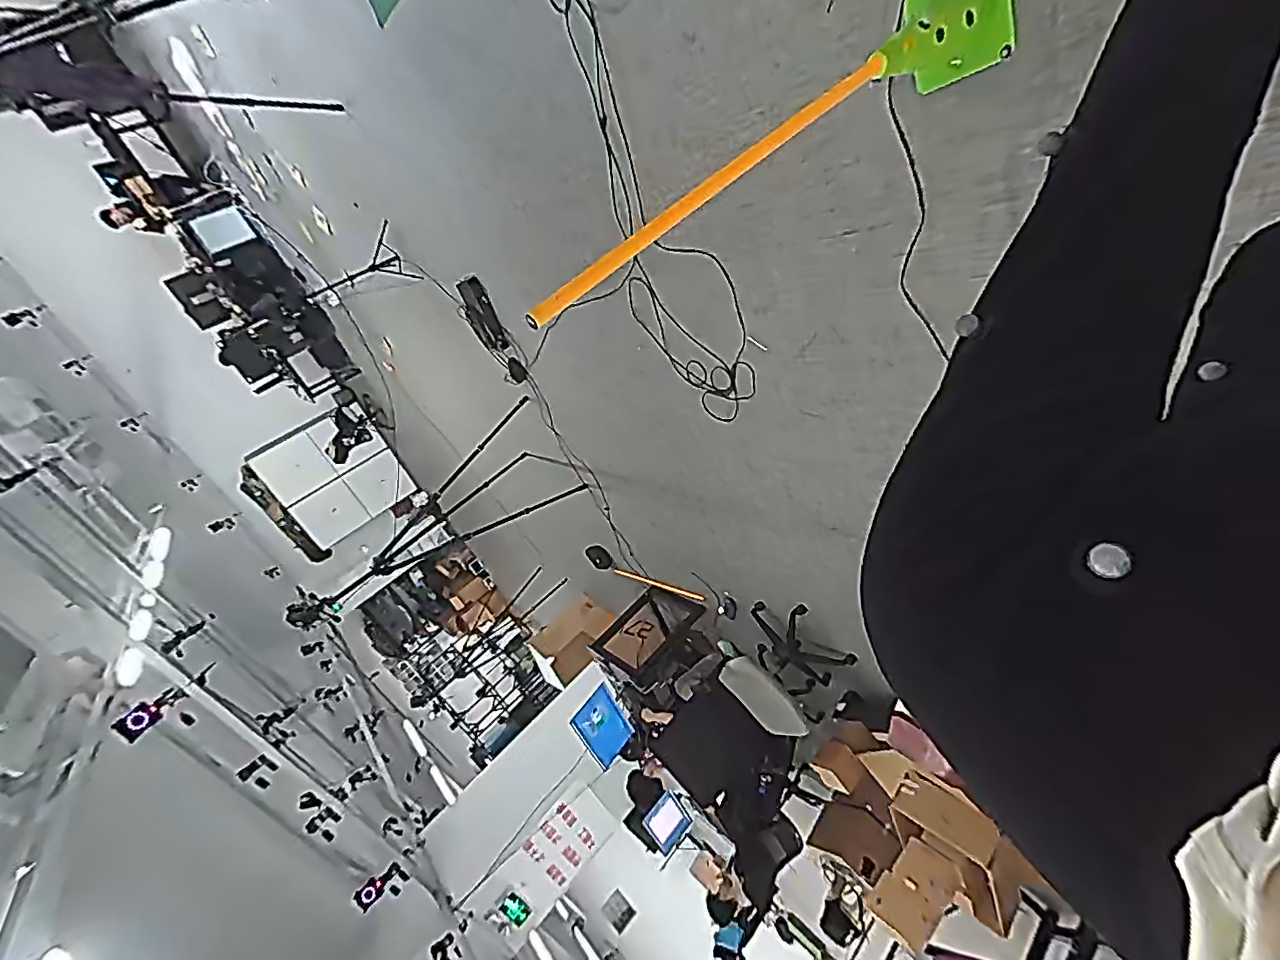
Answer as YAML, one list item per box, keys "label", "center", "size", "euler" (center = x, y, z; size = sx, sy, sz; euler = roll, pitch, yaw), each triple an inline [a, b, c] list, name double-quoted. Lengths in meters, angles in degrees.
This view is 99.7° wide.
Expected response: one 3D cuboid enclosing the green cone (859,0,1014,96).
- label: "green cone"
  center: [0.559, -0.870, 1.085]
  size: [0.202, 0.368, 0.200]
  euler: [12, 135, 54]
